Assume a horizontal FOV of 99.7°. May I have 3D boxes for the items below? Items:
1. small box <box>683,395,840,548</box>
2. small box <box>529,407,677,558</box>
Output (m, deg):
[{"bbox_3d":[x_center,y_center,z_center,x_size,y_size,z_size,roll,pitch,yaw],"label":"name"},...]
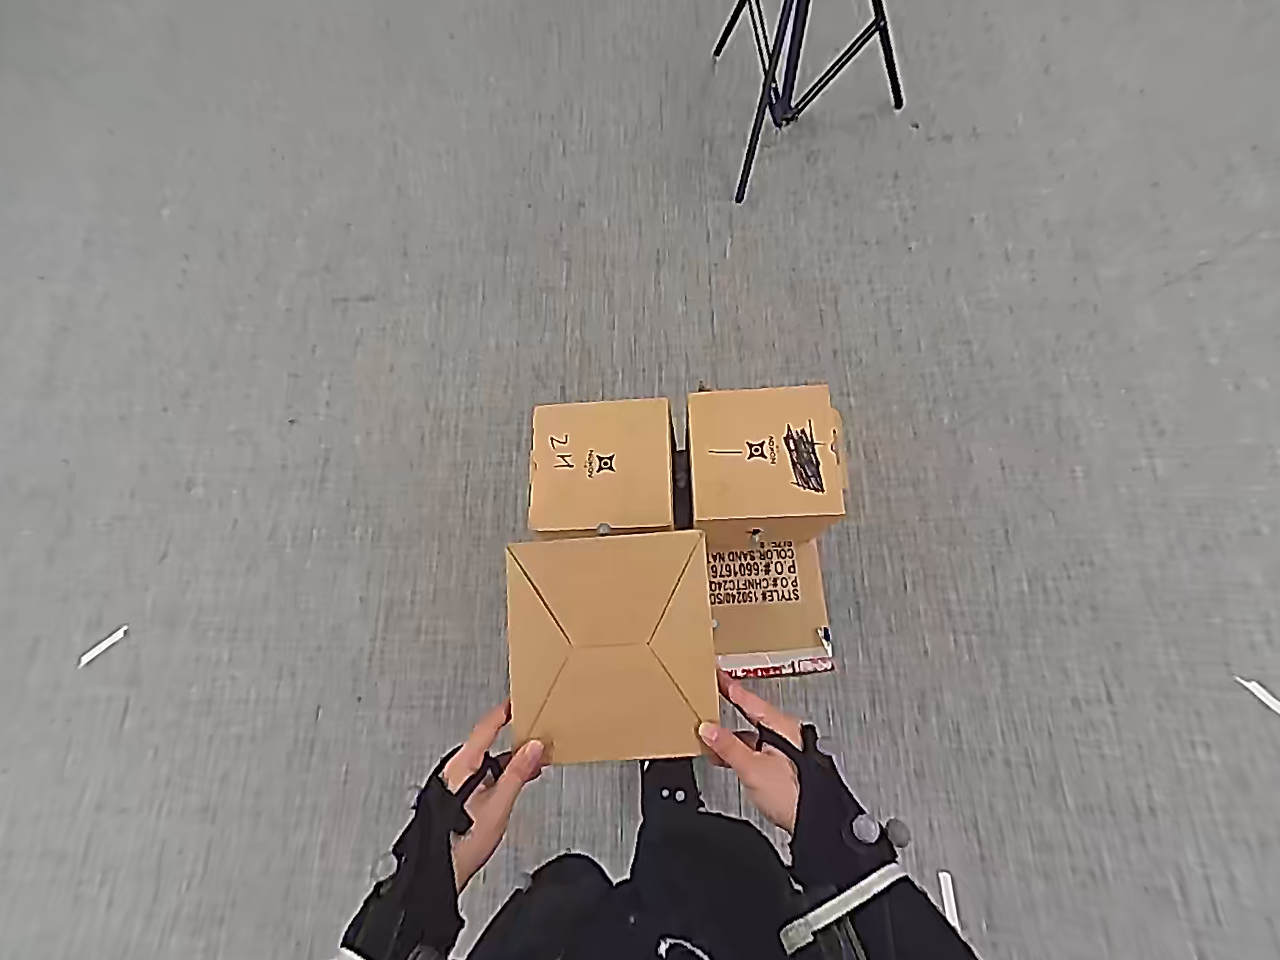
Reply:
[{"bbox_3d":[0.150,-0.003,0.729,0.179,0.176,0.168,-3,73,4],"label":"small box"},{"bbox_3d":[-0.040,0.012,0.742,0.179,0.176,0.168,-3,73,7],"label":"small box"}]
